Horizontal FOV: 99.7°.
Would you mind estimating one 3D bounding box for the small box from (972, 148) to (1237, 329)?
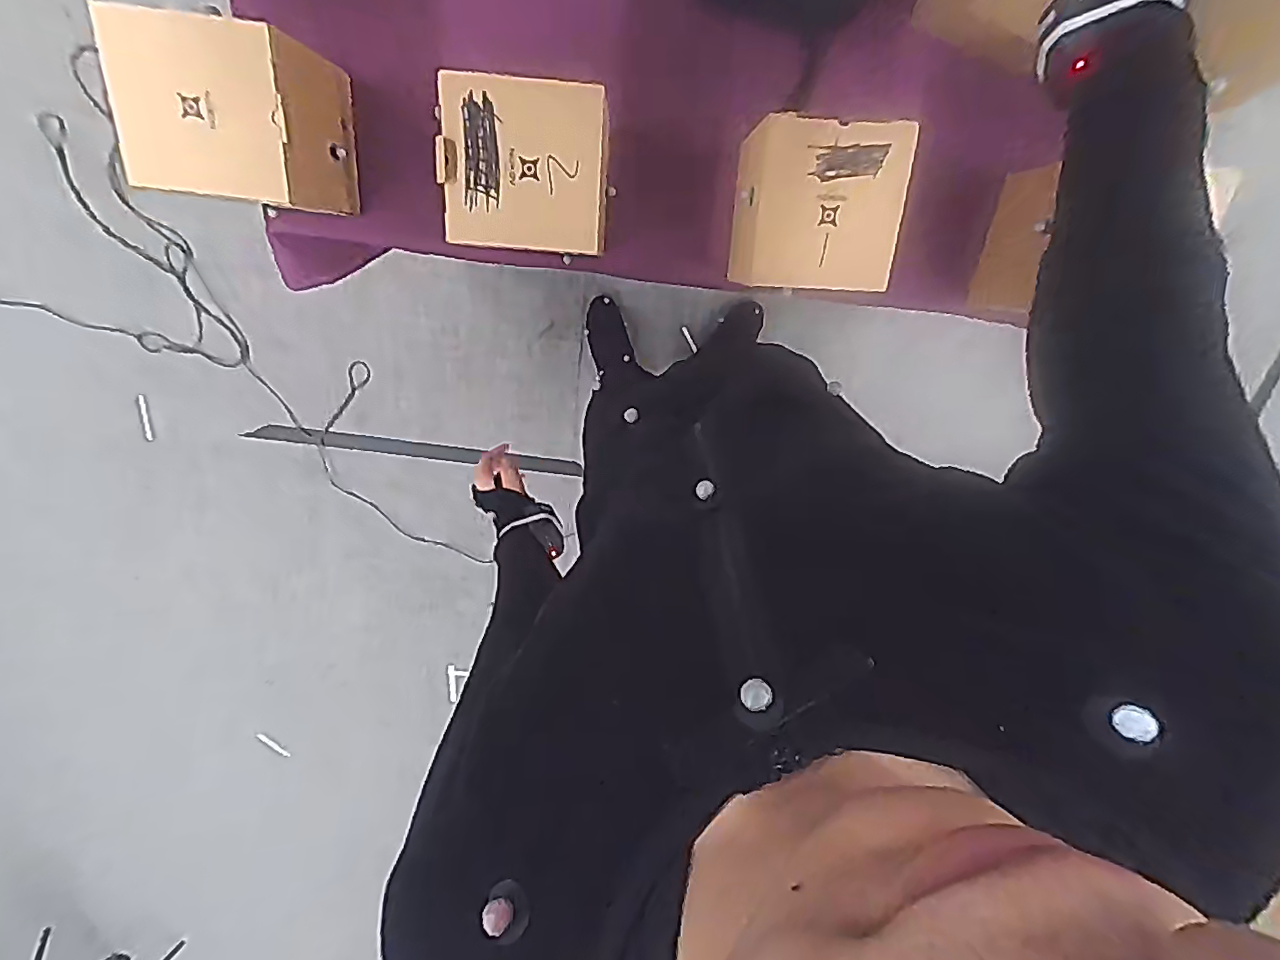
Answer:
[{"bbox_3d":[0.571,-0.301,0.698,0.168,0.176,0.179,7,111,-2],"label":"small box"}]

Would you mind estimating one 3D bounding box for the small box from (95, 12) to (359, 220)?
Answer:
[{"bbox_3d":[-0.466,-0.412,0.644,0.179,0.176,0.168,4,112,-4],"label":"small box"}]

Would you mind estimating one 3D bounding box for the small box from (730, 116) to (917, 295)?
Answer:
[{"bbox_3d":[0.213,-0.334,0.683,0.168,0.176,0.179,2,113,-1],"label":"small box"}]
